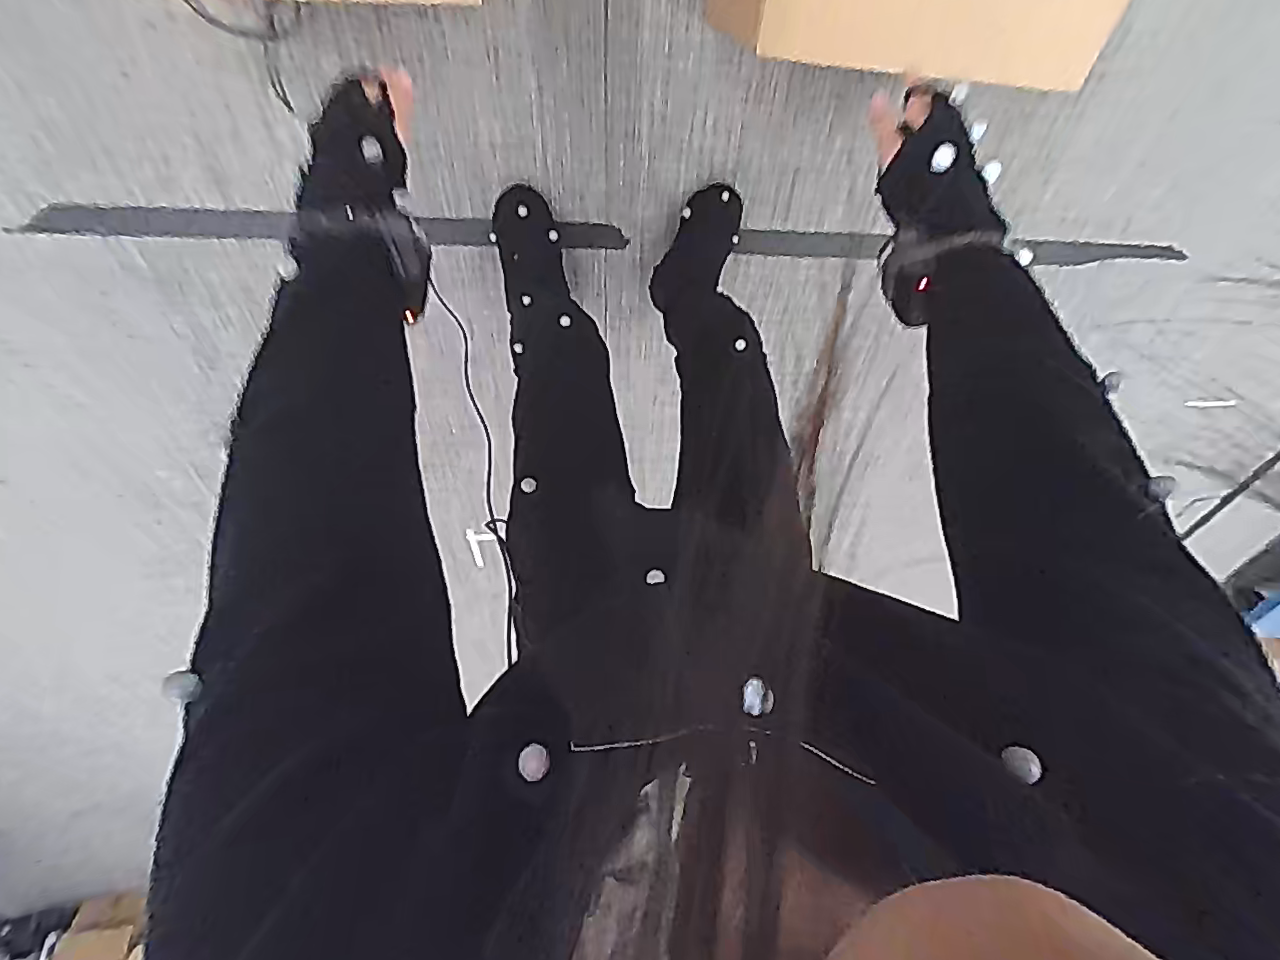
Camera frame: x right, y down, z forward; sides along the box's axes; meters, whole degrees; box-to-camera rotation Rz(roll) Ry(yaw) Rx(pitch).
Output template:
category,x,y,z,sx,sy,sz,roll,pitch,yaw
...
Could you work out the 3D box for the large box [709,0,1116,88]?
category,x,y,z,sx,sy,sz,roll,pitch,yaw
large box,0.324,-0.689,0.635,0.408,0.320,0.320,0,134,-9
